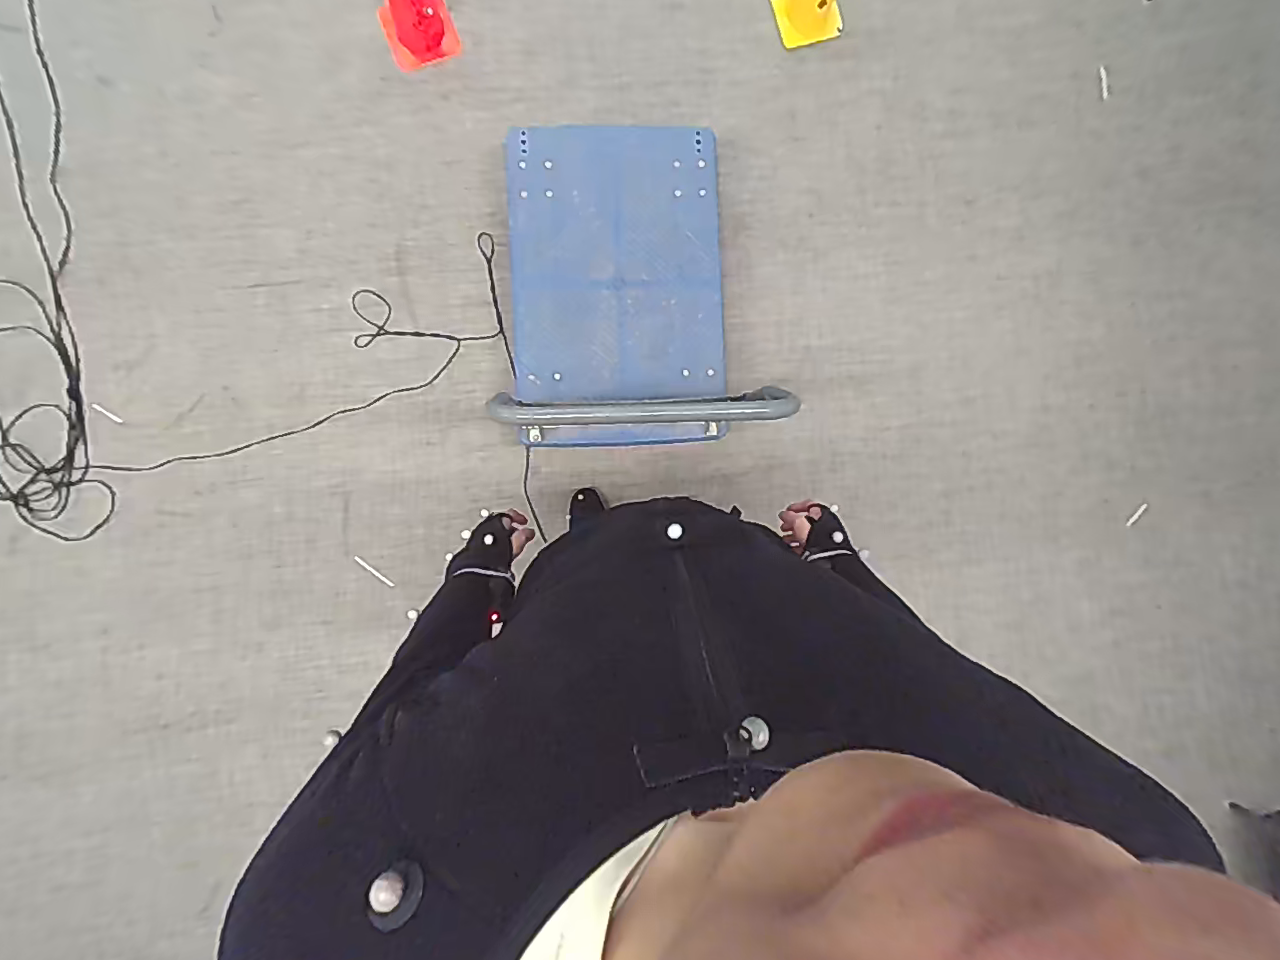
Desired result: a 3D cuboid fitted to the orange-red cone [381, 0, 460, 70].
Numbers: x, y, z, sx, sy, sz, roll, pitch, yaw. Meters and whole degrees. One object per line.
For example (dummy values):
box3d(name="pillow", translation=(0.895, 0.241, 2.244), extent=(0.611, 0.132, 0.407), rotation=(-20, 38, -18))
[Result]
box3d(name="orange-red cone", translation=(-0.651, -1.345, 1.448), extent=(0.199, 0.360, 0.198), rotation=(-20, 90, -2))
